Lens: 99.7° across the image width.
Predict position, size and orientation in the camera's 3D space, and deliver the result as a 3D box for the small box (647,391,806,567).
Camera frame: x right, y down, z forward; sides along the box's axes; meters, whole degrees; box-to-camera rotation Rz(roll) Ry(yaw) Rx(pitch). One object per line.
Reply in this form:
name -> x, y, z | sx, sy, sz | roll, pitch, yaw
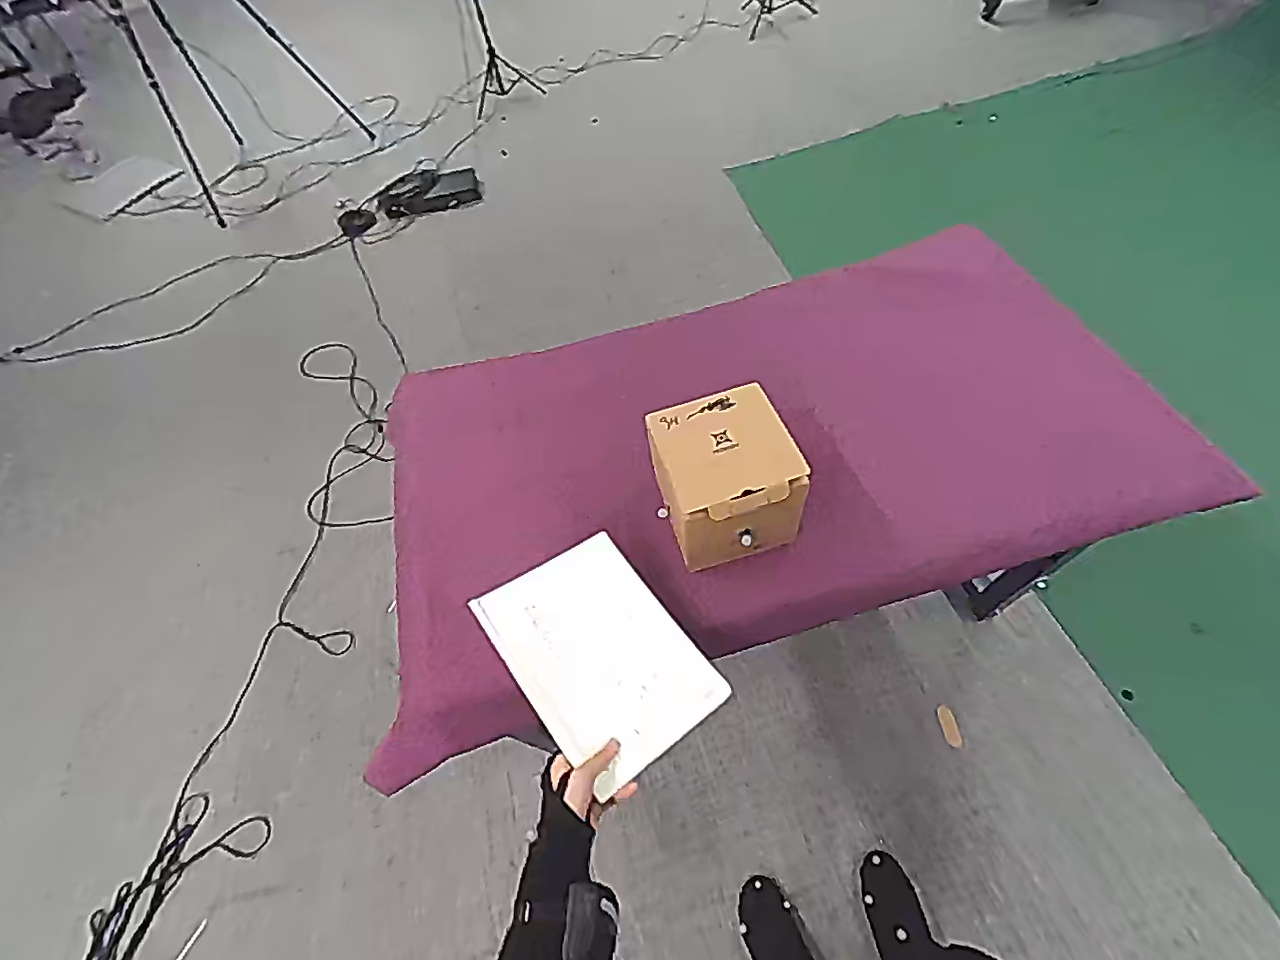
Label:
small box -> 0.117, 0.008, 0.772 | 0.168, 0.176, 0.179 | -16, 57, -3
